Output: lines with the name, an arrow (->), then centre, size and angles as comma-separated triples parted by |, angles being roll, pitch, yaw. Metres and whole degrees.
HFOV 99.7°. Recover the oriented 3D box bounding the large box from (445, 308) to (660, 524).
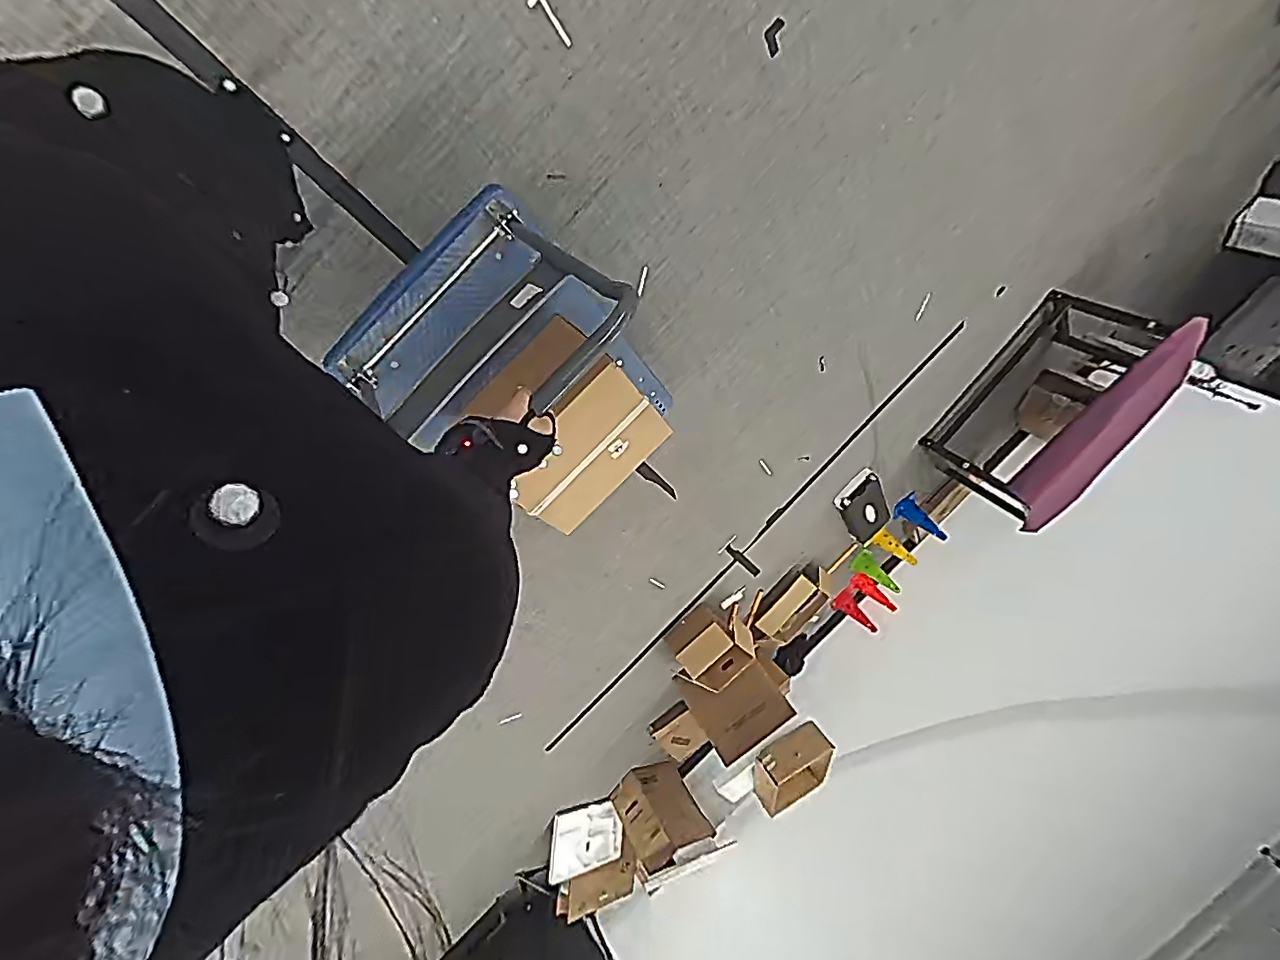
large box -> -0.232, -0.168, 1.430 | 0.408, 0.320, 0.320 | -46, 140, 1
